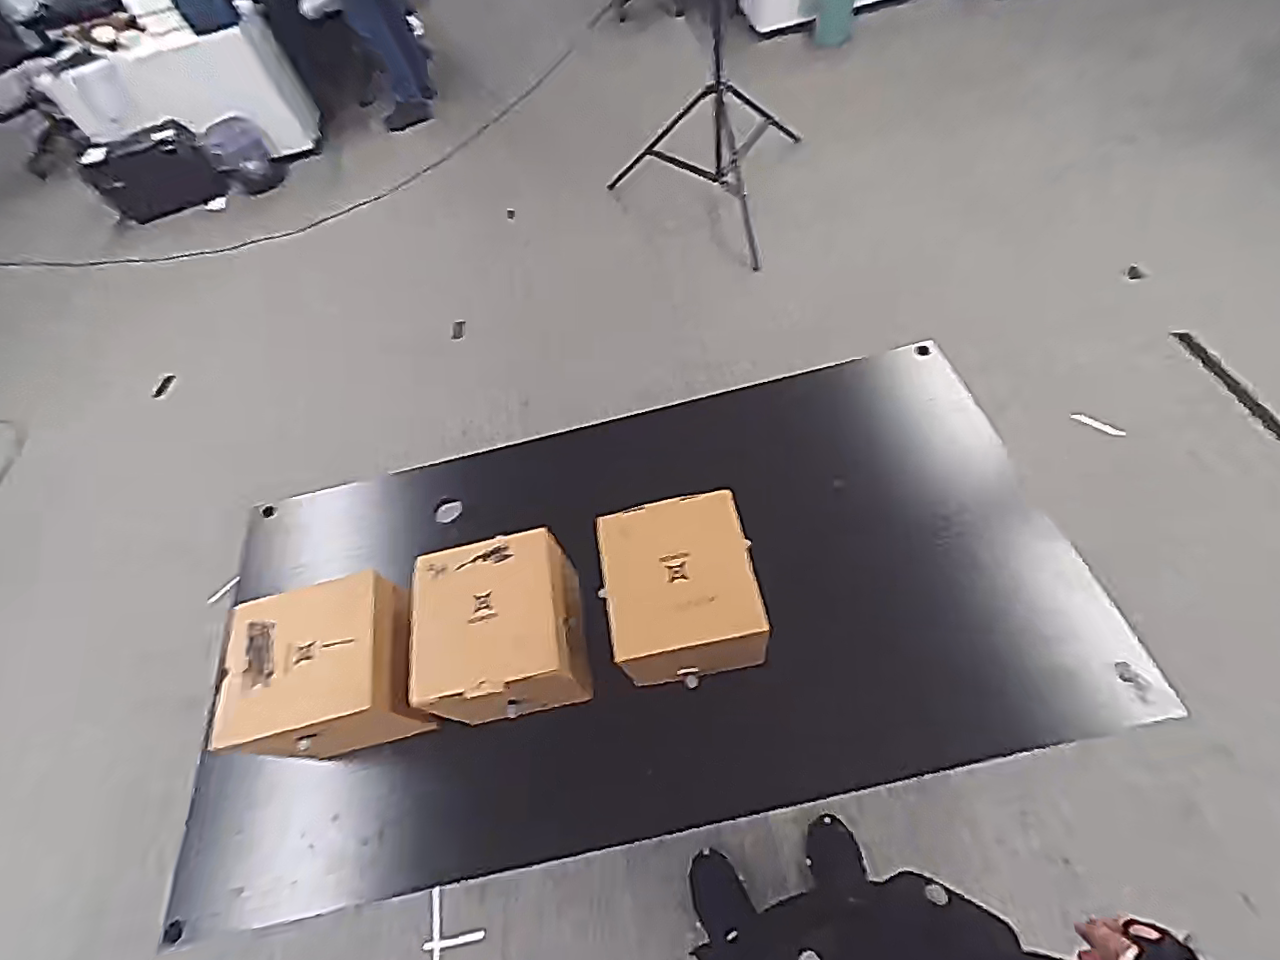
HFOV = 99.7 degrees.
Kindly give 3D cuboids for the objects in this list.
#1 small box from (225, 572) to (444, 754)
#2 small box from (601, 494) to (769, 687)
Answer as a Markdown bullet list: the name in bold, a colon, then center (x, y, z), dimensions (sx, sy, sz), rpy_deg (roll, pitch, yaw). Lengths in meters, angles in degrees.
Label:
- **small box**: center (-0.374, 0.242, 0.696), dimensions (0.179, 0.176, 0.168), rpy_deg (-15, 58, -1)
- **small box**: center (0.056, 0.145, 0.685), dimensions (0.168, 0.176, 0.179), rpy_deg (-14, 59, 3)
